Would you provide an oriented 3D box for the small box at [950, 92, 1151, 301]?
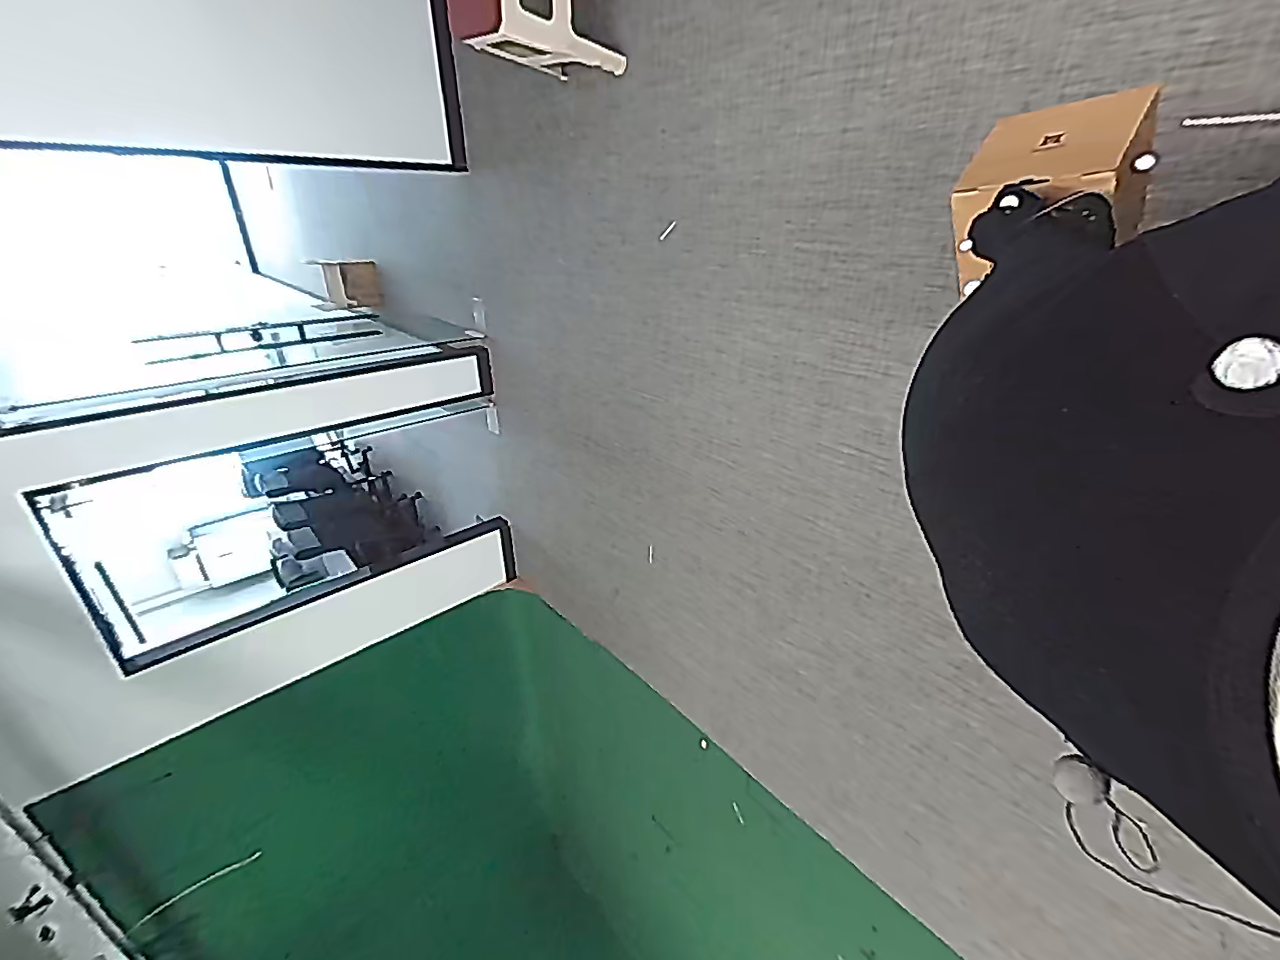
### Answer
[{"bbox_3d":[0.537,-0.362,0.718,0.168,0.179,0.176,18,154,45],"label":"small box"}]
